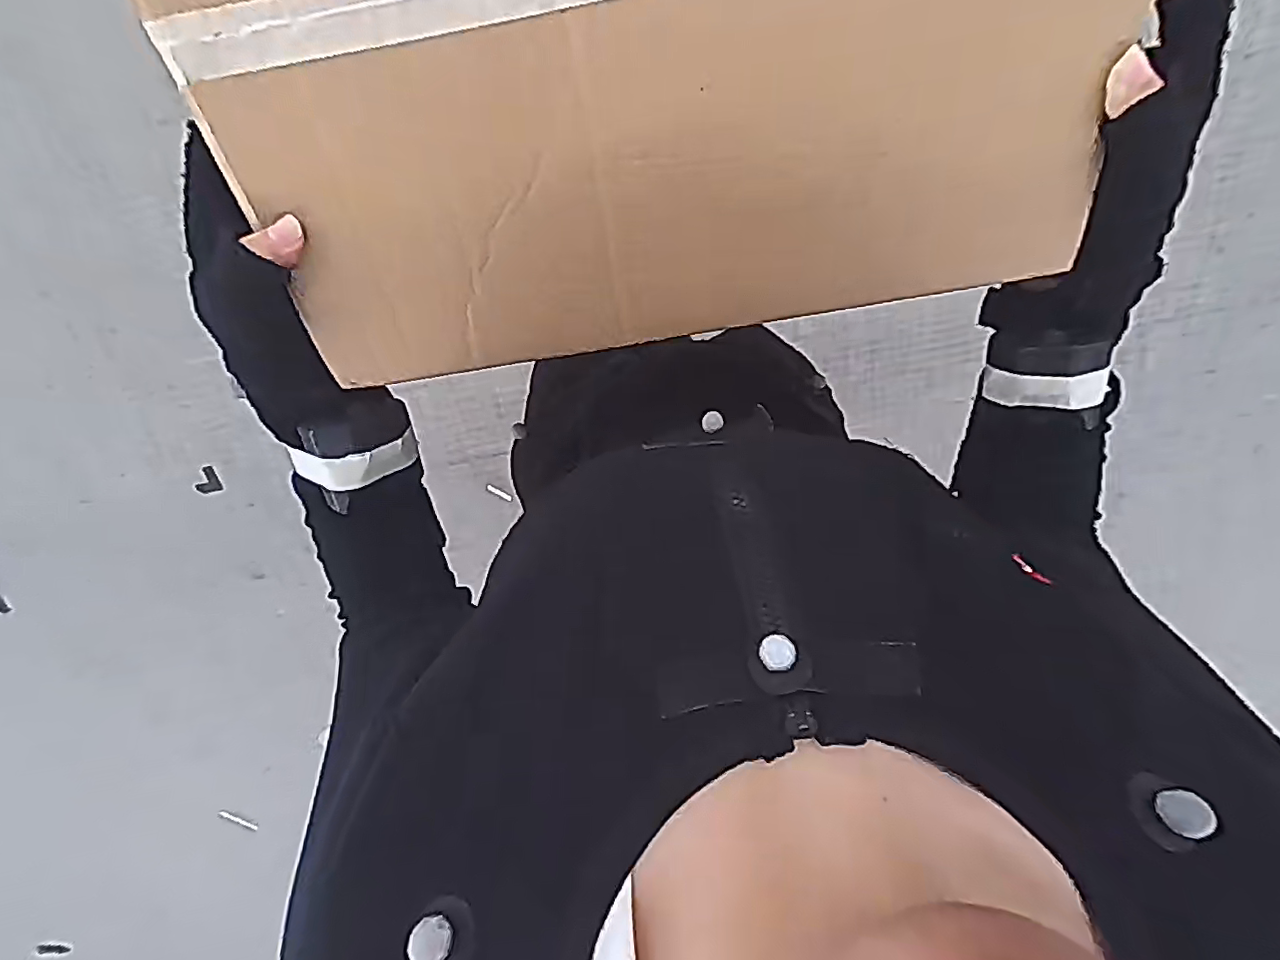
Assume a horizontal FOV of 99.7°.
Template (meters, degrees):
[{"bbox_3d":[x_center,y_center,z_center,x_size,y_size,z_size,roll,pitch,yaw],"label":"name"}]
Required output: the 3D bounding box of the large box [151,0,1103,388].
[{"bbox_3d":[-0.005,-0.295,0.343,0.408,0.320,0.320,-9,125,4],"label":"large box"}]
